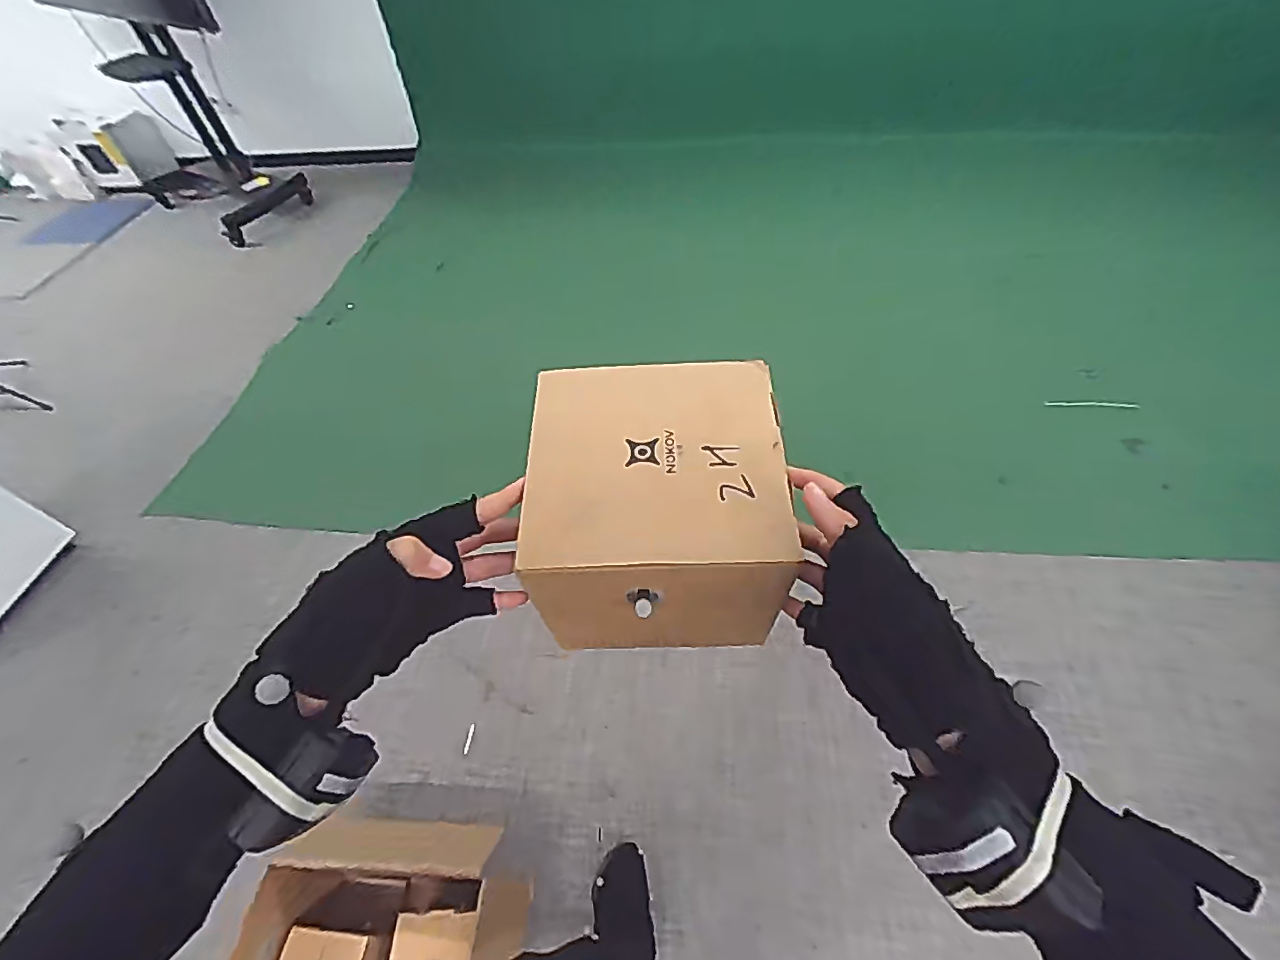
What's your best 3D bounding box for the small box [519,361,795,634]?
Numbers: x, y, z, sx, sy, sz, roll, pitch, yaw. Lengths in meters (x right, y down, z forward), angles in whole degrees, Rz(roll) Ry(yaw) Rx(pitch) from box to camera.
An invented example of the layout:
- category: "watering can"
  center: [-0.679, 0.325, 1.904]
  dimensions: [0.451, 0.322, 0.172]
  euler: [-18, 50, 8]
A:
- category: "small box"
  center: [0.014, 0.023, 0.445]
  dimensions: [0.179, 0.176, 0.168]
  euler: [-1, 58, 1]
